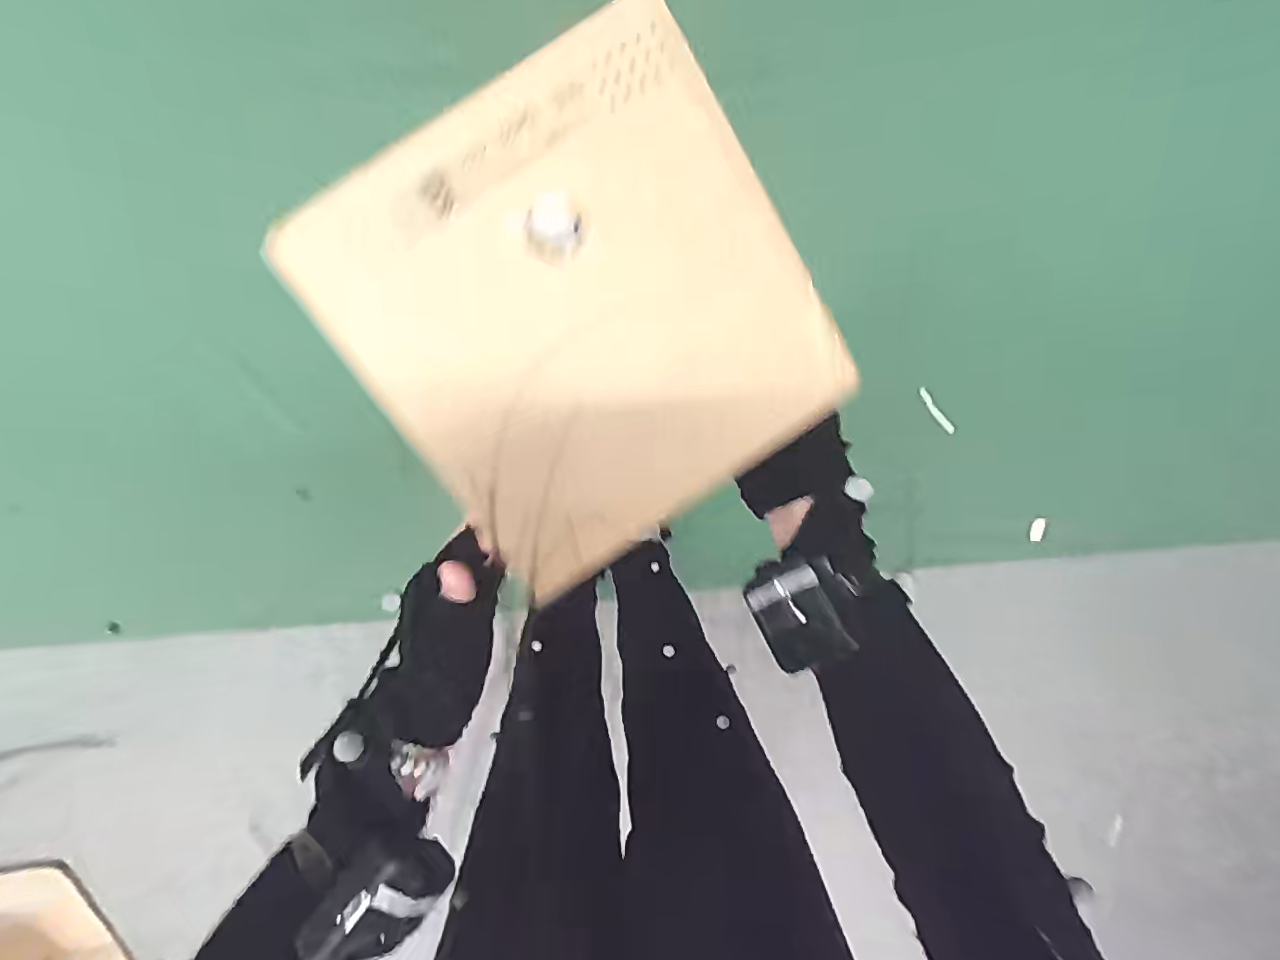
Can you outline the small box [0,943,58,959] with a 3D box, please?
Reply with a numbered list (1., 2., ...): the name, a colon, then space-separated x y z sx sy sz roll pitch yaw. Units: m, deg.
1. small box: -1.473 1.204 1.223 0.179 0.176 0.168 -9 109 -3
